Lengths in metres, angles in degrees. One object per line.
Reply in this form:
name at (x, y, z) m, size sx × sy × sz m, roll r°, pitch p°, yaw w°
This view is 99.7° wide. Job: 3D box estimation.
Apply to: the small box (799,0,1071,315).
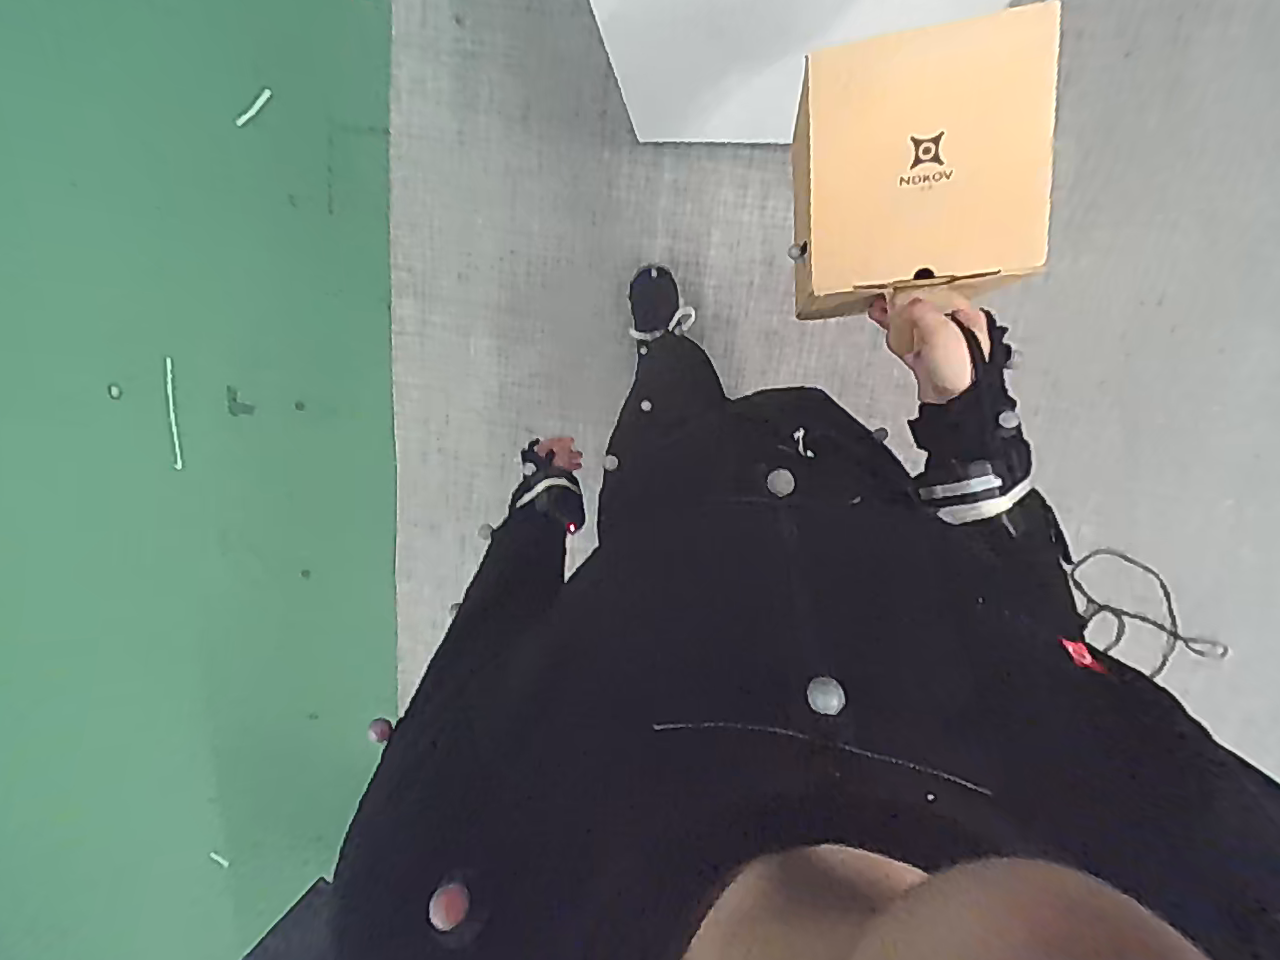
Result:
small box at (0.230, -0.249, 0.468) m, size 0.168 × 0.176 × 0.179 m, roll -2°, pitch 100°, yaw 12°
